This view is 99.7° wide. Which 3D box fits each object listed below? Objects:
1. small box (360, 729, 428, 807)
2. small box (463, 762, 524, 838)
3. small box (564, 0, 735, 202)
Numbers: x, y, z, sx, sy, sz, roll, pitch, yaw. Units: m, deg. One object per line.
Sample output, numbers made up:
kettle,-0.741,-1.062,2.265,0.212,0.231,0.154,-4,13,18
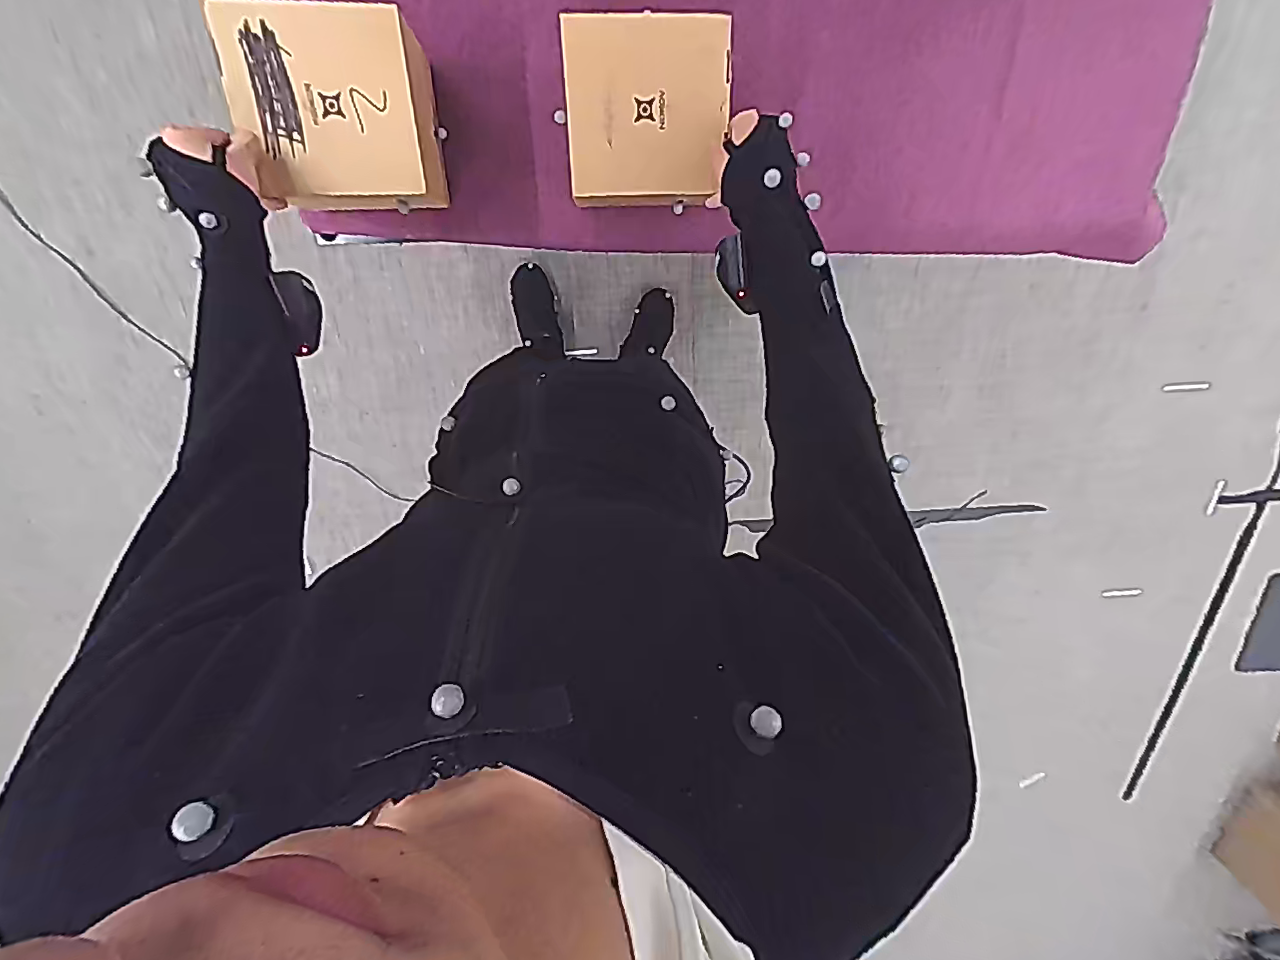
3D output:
small box,-0.902,1.061,1.995,0.168,0.176,0.179,19,111,-12
small box,-0.563,1.237,2.097,0.168,0.176,0.179,26,109,-14
small box,0.003,-0.431,0.642,0.179,0.176,0.168,-3,113,-5
